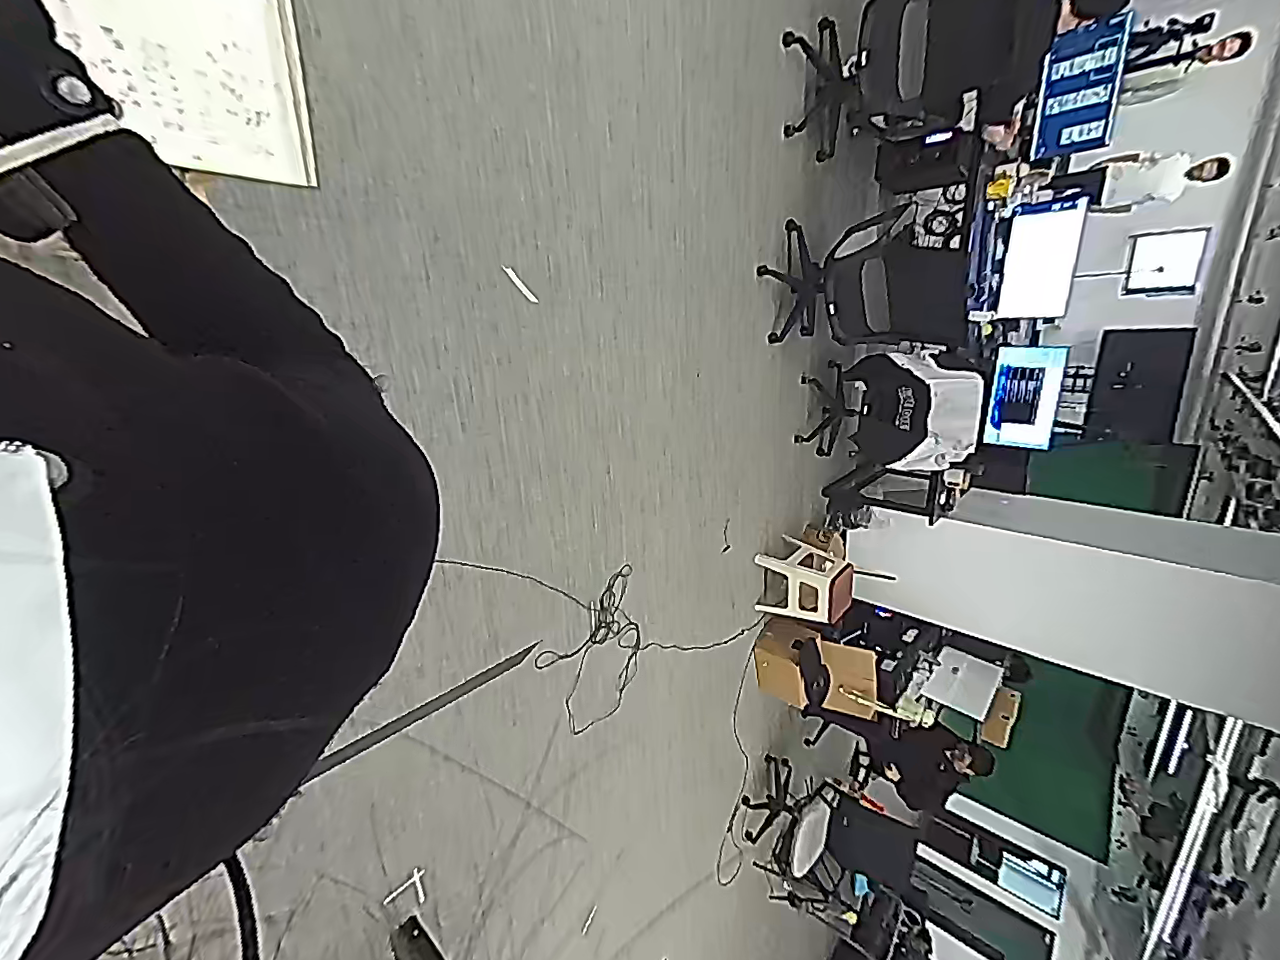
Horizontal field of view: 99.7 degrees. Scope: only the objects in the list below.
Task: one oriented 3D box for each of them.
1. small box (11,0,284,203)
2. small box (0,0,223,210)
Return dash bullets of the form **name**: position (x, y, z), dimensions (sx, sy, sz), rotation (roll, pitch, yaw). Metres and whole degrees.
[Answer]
- **small box**: position (-0.507, -0.407, 0.564), dimensions (0.168, 0.176, 0.179), rotation (-19, 116, -48)
- **small box**: position (-0.636, -0.435, 0.663), dimensions (0.179, 0.176, 0.168), rotation (-23, 118, -46)
